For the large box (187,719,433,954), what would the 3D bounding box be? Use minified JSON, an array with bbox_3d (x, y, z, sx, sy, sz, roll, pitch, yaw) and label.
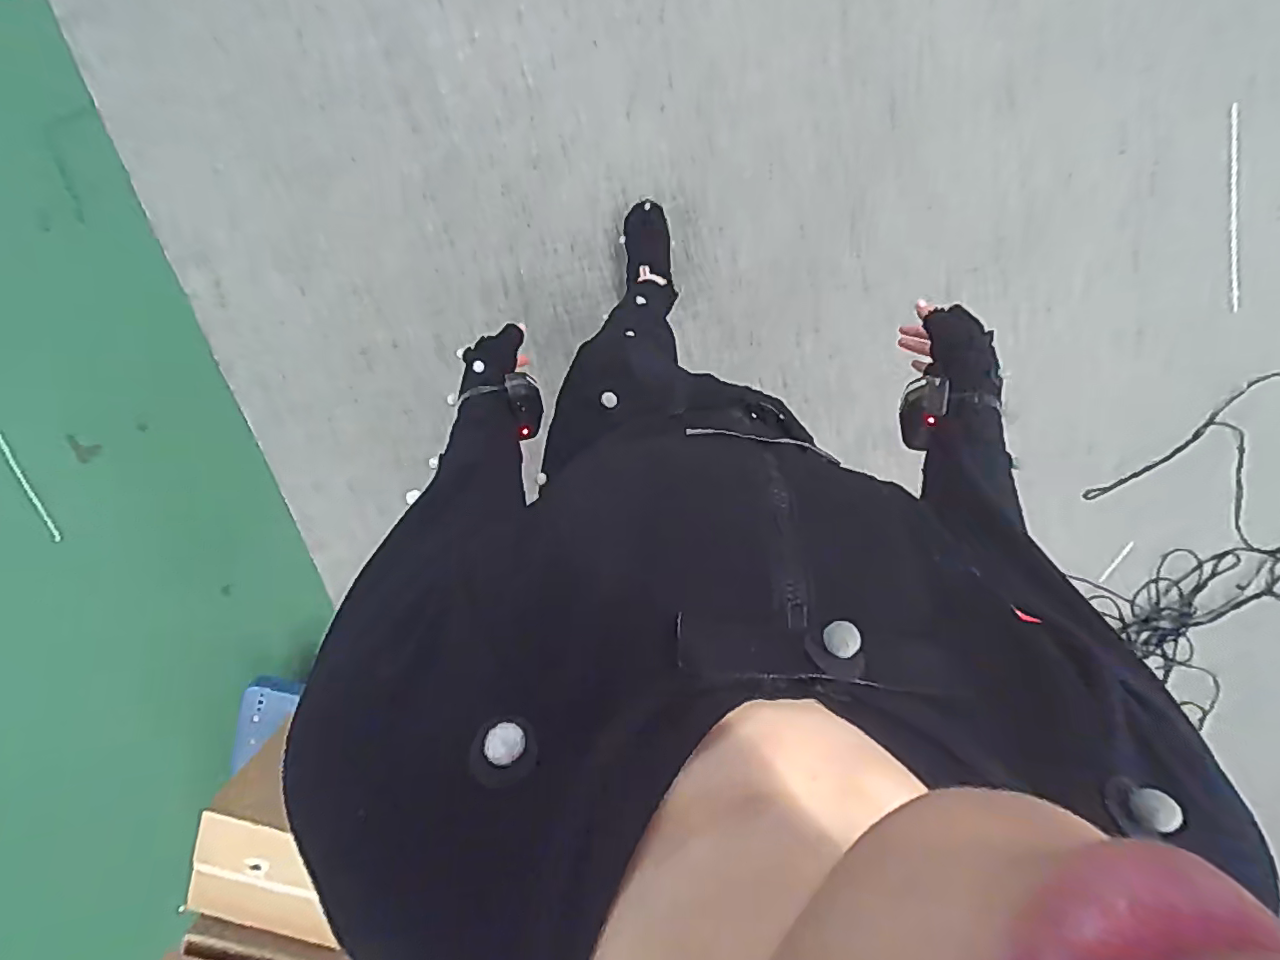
[{"bbox_3d":[-0.795,0.870,1.351,0.408,0.320,0.320,20,105,-5],"label":"large box"}]
